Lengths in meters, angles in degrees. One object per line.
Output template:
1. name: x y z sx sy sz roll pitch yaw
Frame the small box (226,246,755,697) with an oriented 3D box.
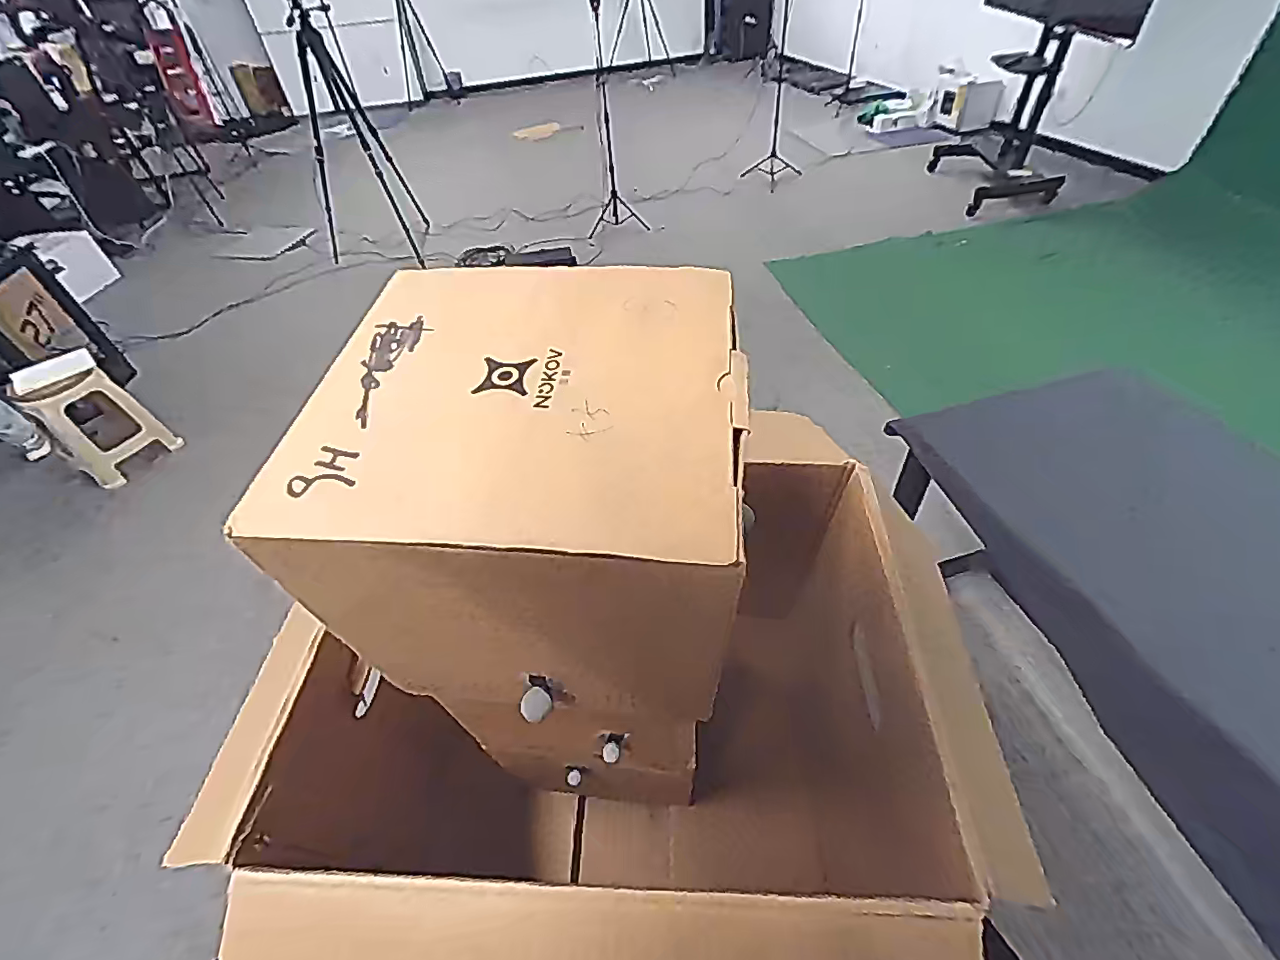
1. small box: -0.042 0.002 0.283 0.179 0.176 0.168 4 51 4
